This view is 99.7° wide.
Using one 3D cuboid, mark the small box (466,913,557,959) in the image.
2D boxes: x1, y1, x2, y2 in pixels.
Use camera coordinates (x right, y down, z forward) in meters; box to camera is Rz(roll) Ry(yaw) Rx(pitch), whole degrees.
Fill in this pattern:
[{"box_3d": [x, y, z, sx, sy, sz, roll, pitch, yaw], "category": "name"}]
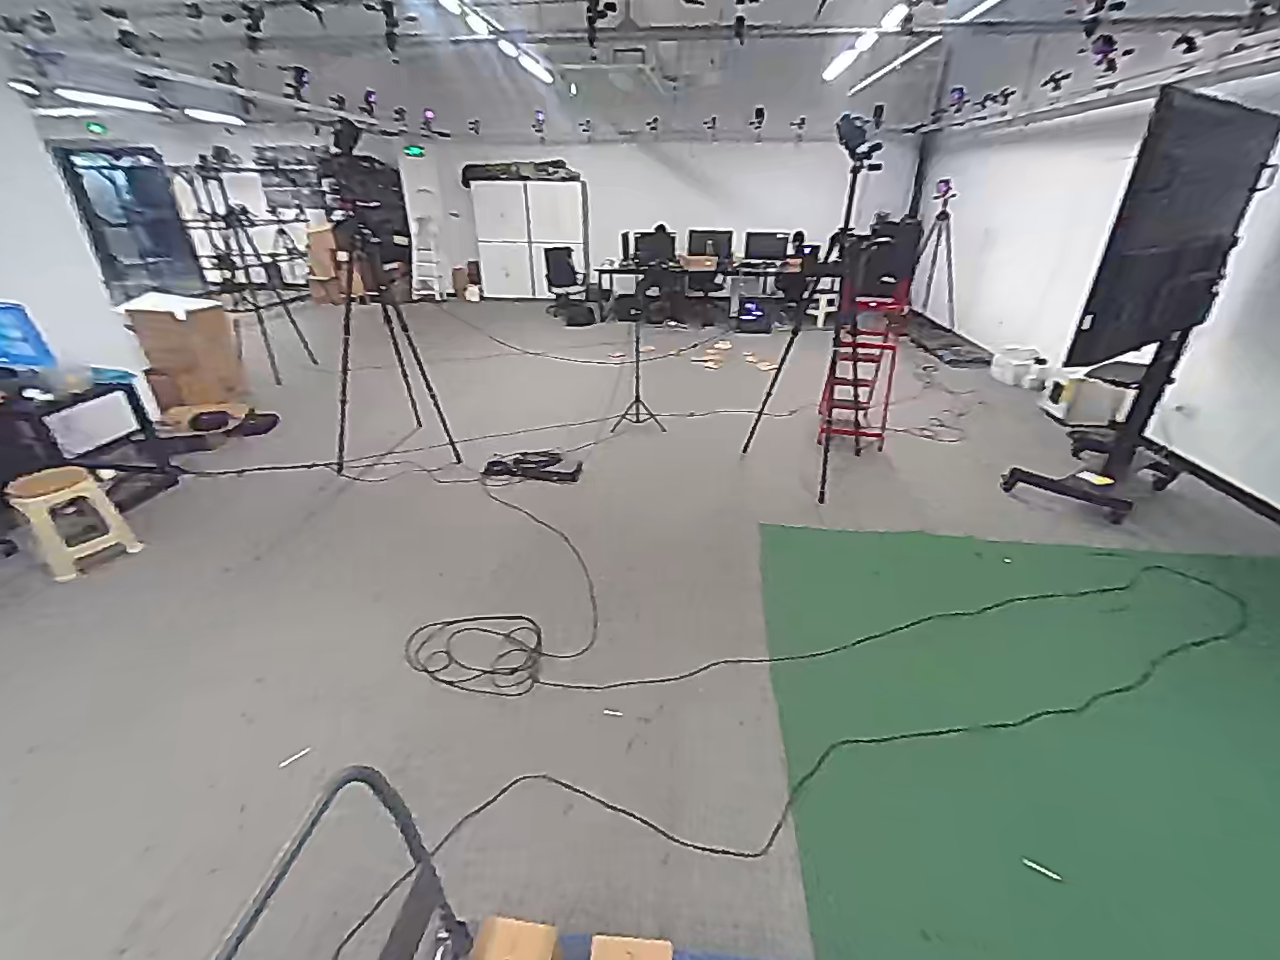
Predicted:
[{"box_3d": [-0.269, 1.042, 1.105, 0.168, 0.176, 0.179, 5, 28, 8], "category": "small box"}]
